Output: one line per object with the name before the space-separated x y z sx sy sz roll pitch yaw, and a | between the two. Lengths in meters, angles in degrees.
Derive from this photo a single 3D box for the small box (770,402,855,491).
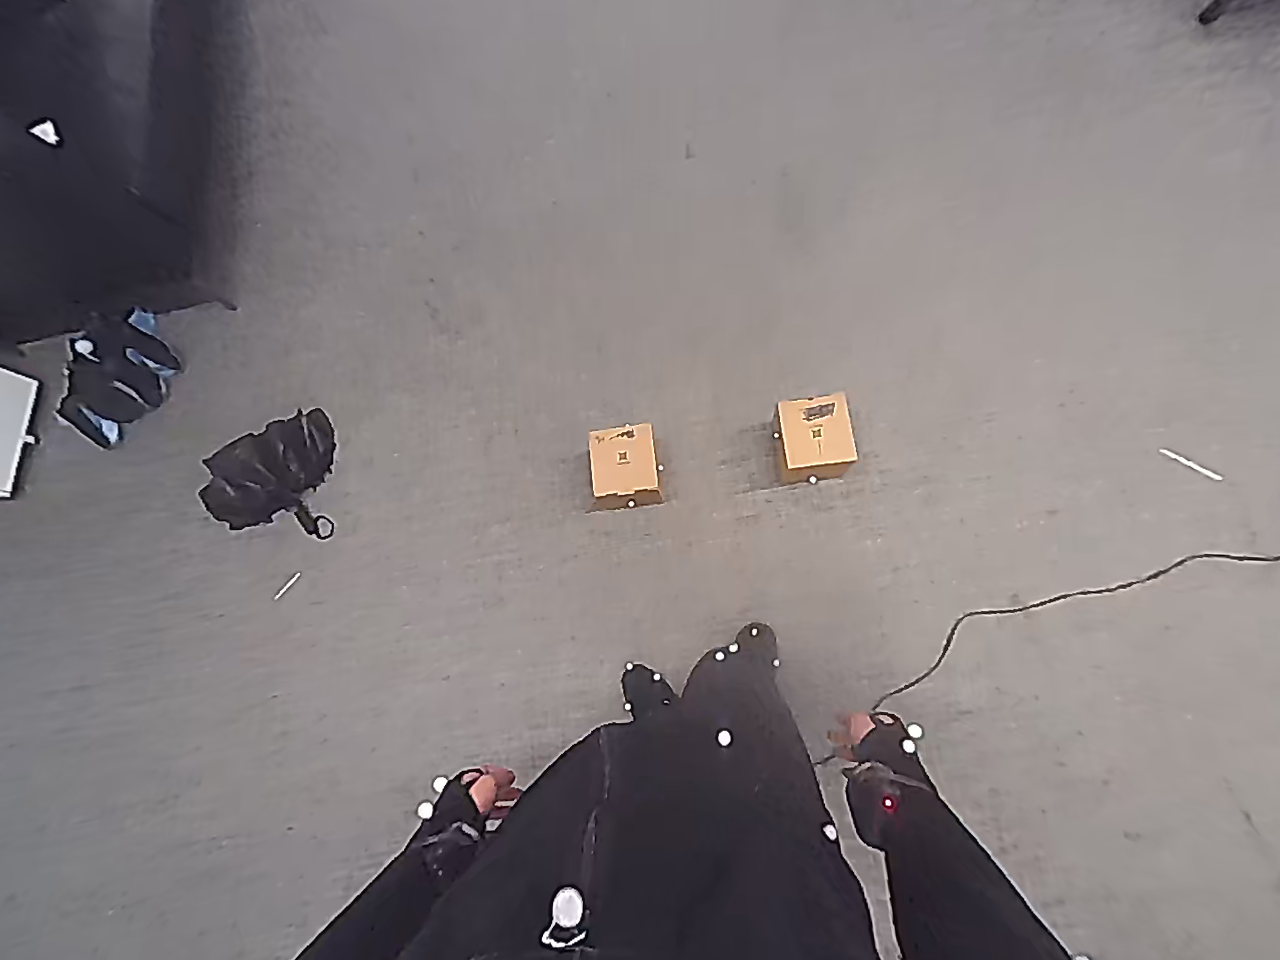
small box | 0.438 -0.082 1.400 0.168 0.176 0.179 -8 75 7

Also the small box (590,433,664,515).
small box | -0.031 -0.009 1.446 0.168 0.176 0.179 -8 74 6
